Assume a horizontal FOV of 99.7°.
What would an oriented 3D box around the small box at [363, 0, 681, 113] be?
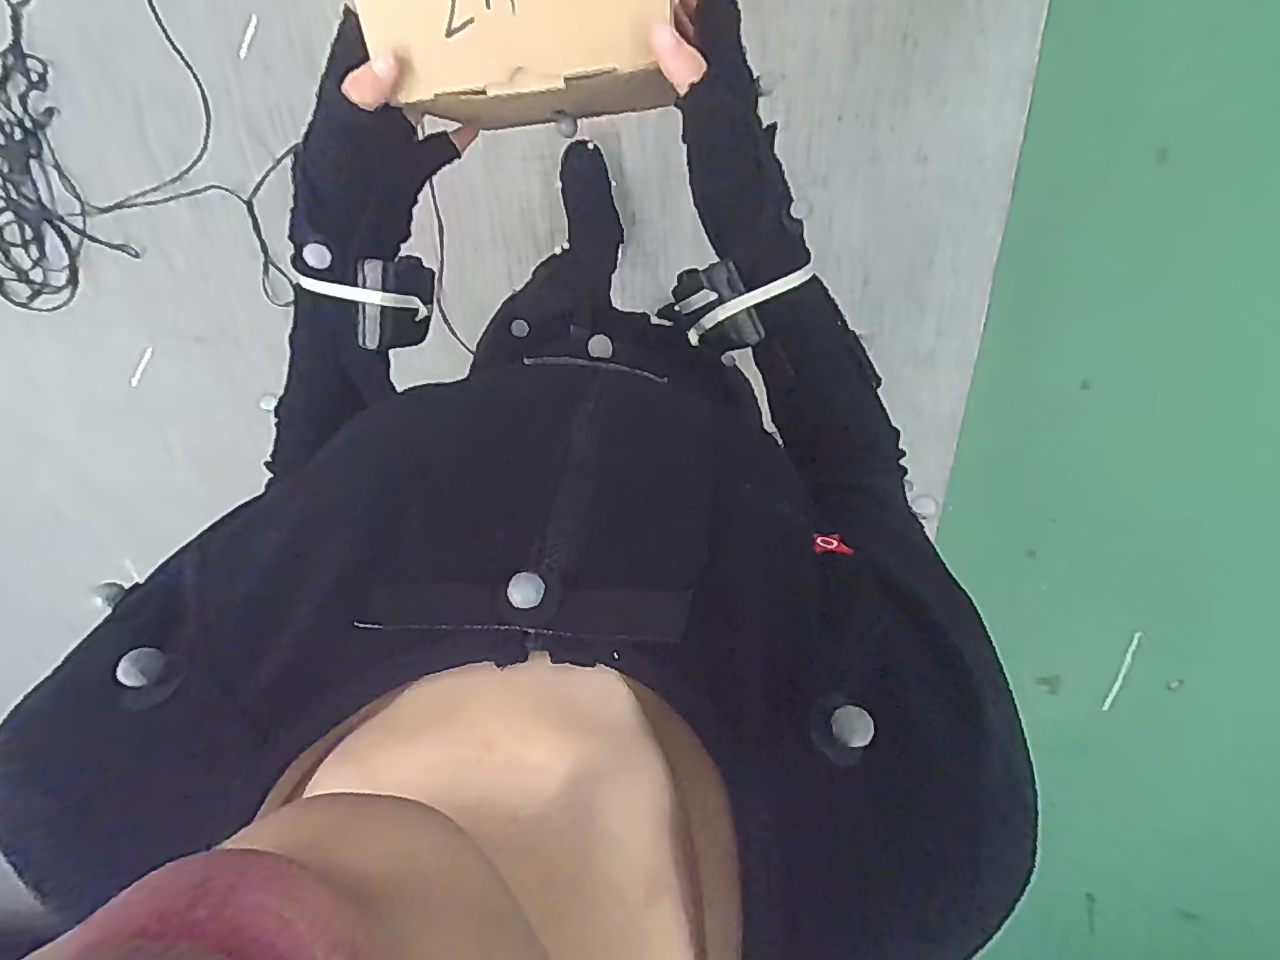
[{"bbox_3d":[-0.062,-0.341,0.320,0.168,0.176,0.179,-2,117,7],"label":"small box"}]
